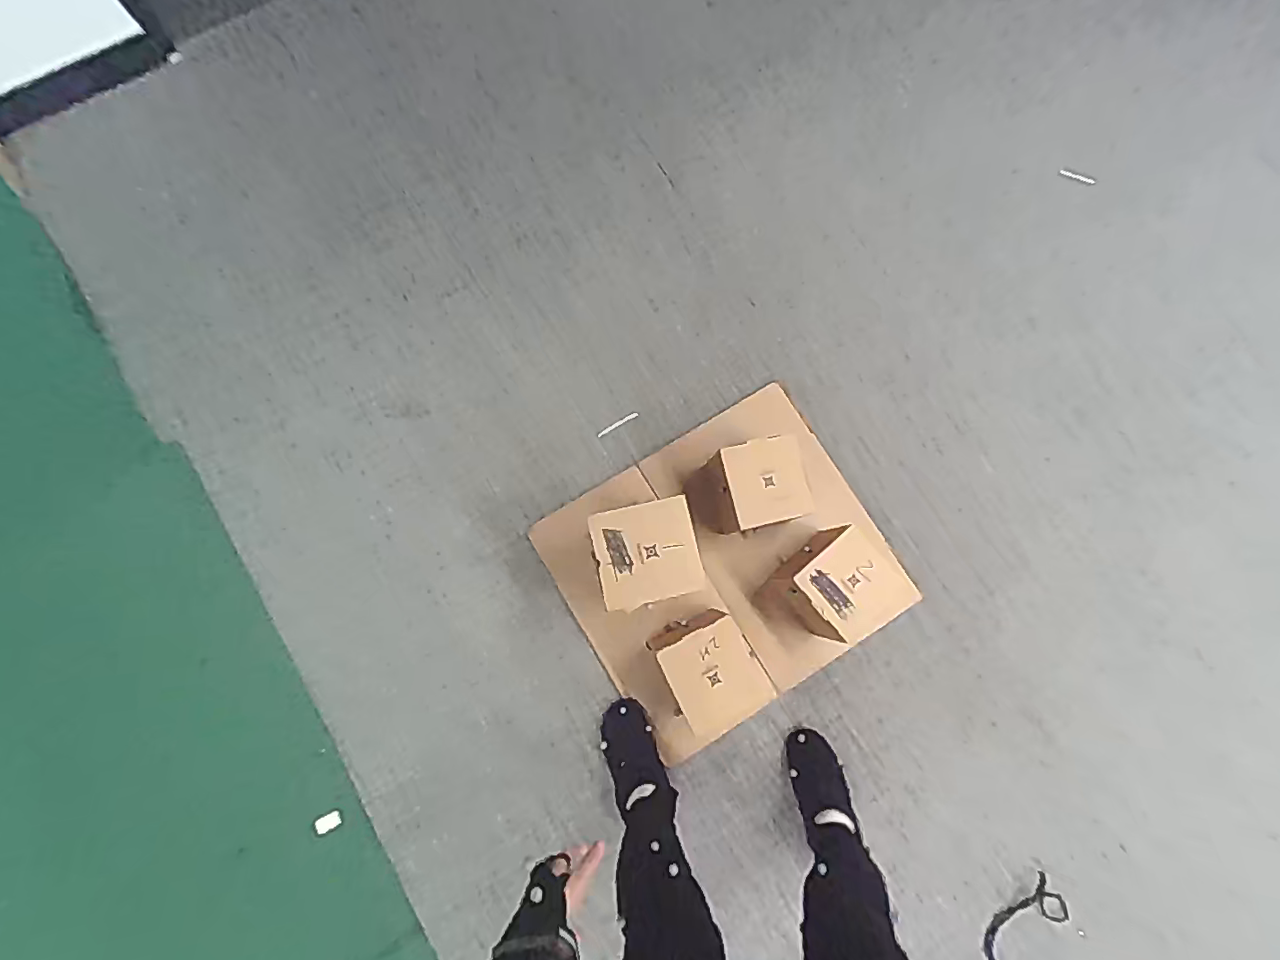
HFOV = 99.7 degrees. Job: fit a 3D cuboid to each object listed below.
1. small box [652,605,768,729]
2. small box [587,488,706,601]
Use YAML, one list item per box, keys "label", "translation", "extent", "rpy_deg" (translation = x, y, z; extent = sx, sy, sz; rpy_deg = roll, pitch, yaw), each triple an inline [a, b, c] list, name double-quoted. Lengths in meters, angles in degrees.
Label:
- label: "small box"
  translation: [0.135, 0.372, 1.112]
  extent: [0.168, 0.176, 0.179]
  rpy_deg: [-25, 83, -7]
- label: "small box"
  translation: [0.007, 0.122, 0.984]
  extent: [0.179, 0.176, 0.168]
  rpy_deg: [-12, 81, -6]
